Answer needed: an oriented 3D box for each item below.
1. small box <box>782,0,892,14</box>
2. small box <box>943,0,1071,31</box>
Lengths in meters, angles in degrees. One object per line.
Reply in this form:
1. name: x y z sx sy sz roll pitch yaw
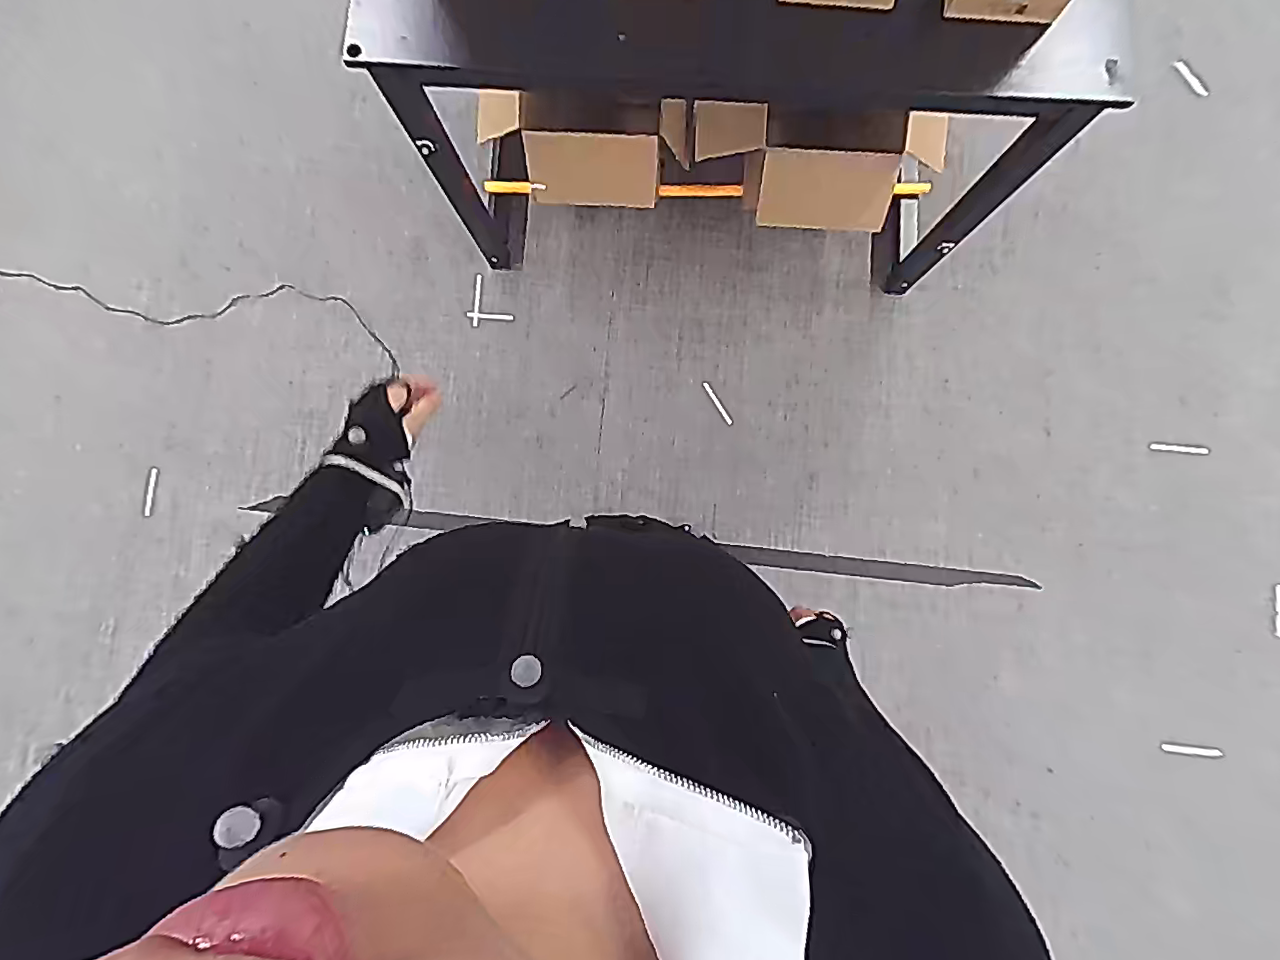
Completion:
1. small box: 0.304 -0.807 0.759 0.179 0.176 0.168 7 85 1
2. small box: 0.548 -0.783 0.751 0.168 0.176 0.179 6 85 2
